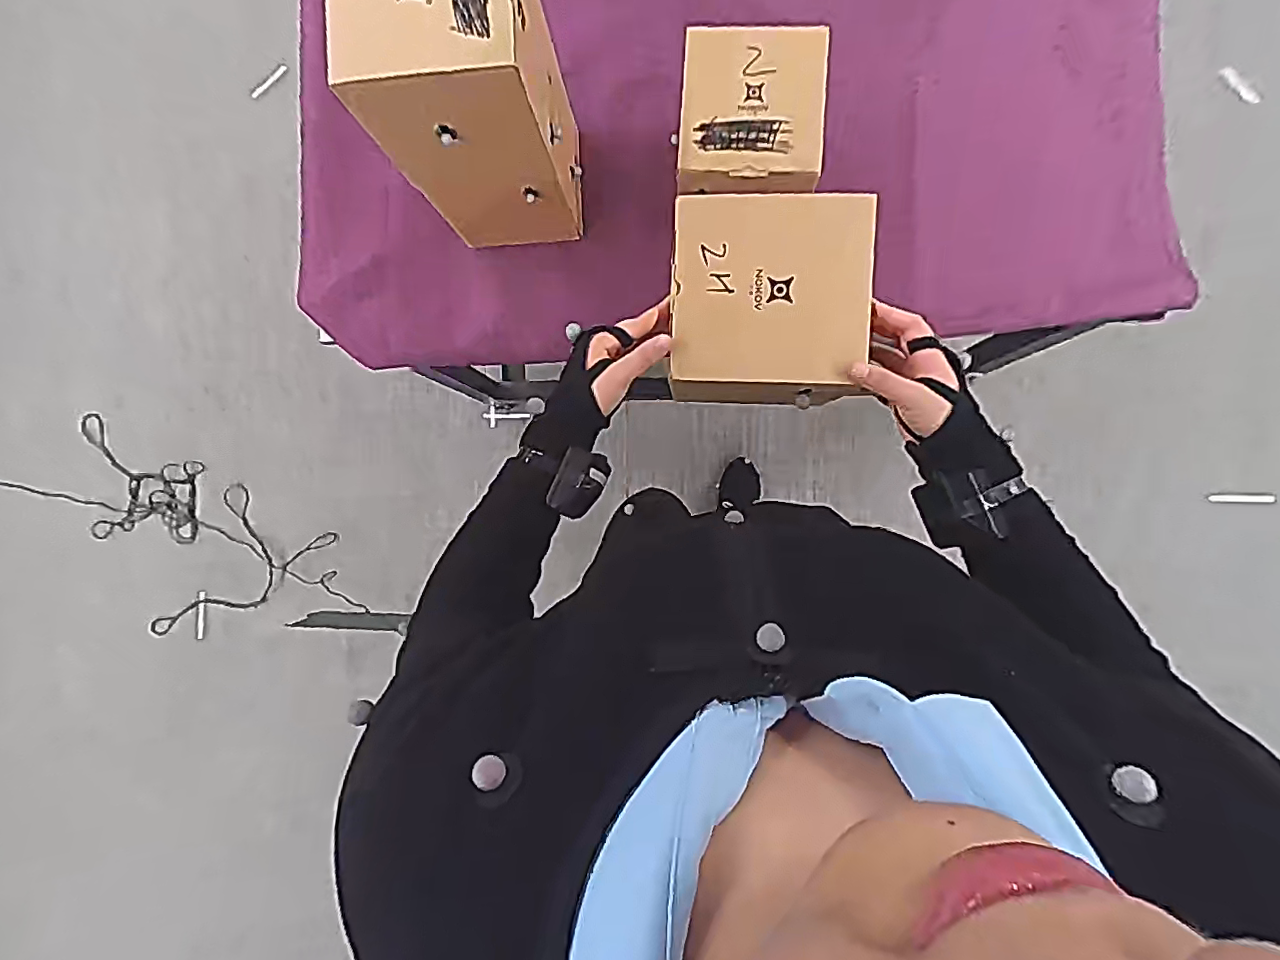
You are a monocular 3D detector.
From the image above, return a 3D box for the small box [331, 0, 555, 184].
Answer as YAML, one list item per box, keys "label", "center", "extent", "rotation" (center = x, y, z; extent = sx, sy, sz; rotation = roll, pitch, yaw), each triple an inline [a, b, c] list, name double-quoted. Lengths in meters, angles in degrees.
- label: "small box"
  center: [-0.189, -0.439, 0.565]
  extent: [0.179, 0.176, 0.168]
  rotation: [-3, 88, 4]

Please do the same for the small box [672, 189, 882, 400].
- label: "small box"
  center: [0.126, -0.175, 0.555]
  extent: [0.179, 0.176, 0.168]
  rotation: [2, 92, 6]

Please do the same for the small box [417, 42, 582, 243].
- label: "small box"
  center: [-0.181, -0.438, 0.729]
  extent: [0.179, 0.176, 0.168]
  rotation: [-3, 88, 3]
